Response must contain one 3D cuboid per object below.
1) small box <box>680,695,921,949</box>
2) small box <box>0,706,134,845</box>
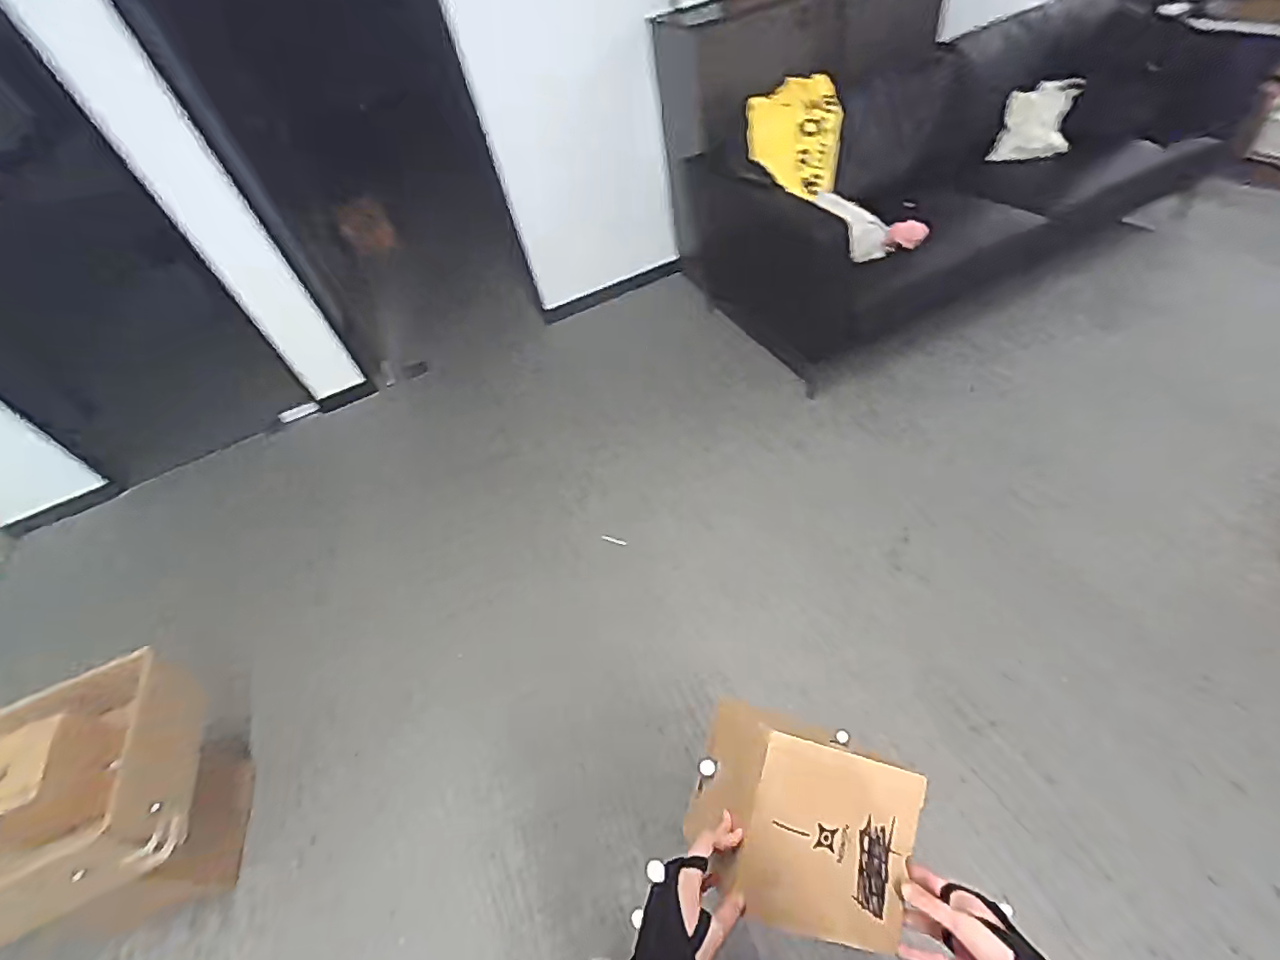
[{"bbox_3d":[0.162,0.351,0.591,0.179,0.176,0.168,19,77,-6],"label":"small box"},{"bbox_3d":[-1.186,0.597,1.088,0.168,0.176,0.179,-23,47,-6],"label":"small box"}]
